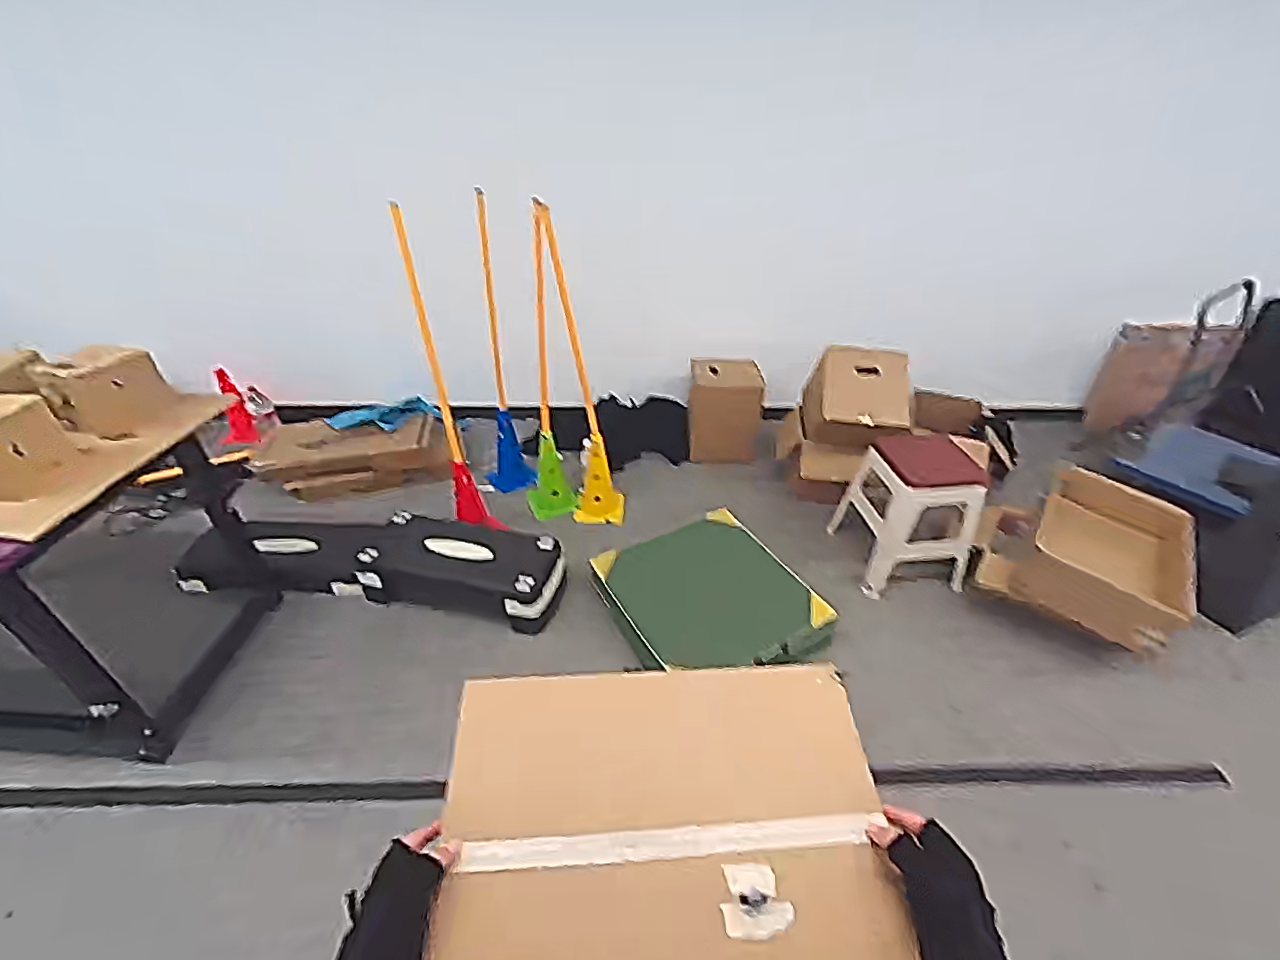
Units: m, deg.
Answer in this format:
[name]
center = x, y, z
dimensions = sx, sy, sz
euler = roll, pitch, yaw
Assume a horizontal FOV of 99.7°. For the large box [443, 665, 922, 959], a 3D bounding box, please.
[large box]
center = 0.023, 0.430, 0.612
dimensions = 0.408, 0.320, 0.320
euler = 0, 48, -4
